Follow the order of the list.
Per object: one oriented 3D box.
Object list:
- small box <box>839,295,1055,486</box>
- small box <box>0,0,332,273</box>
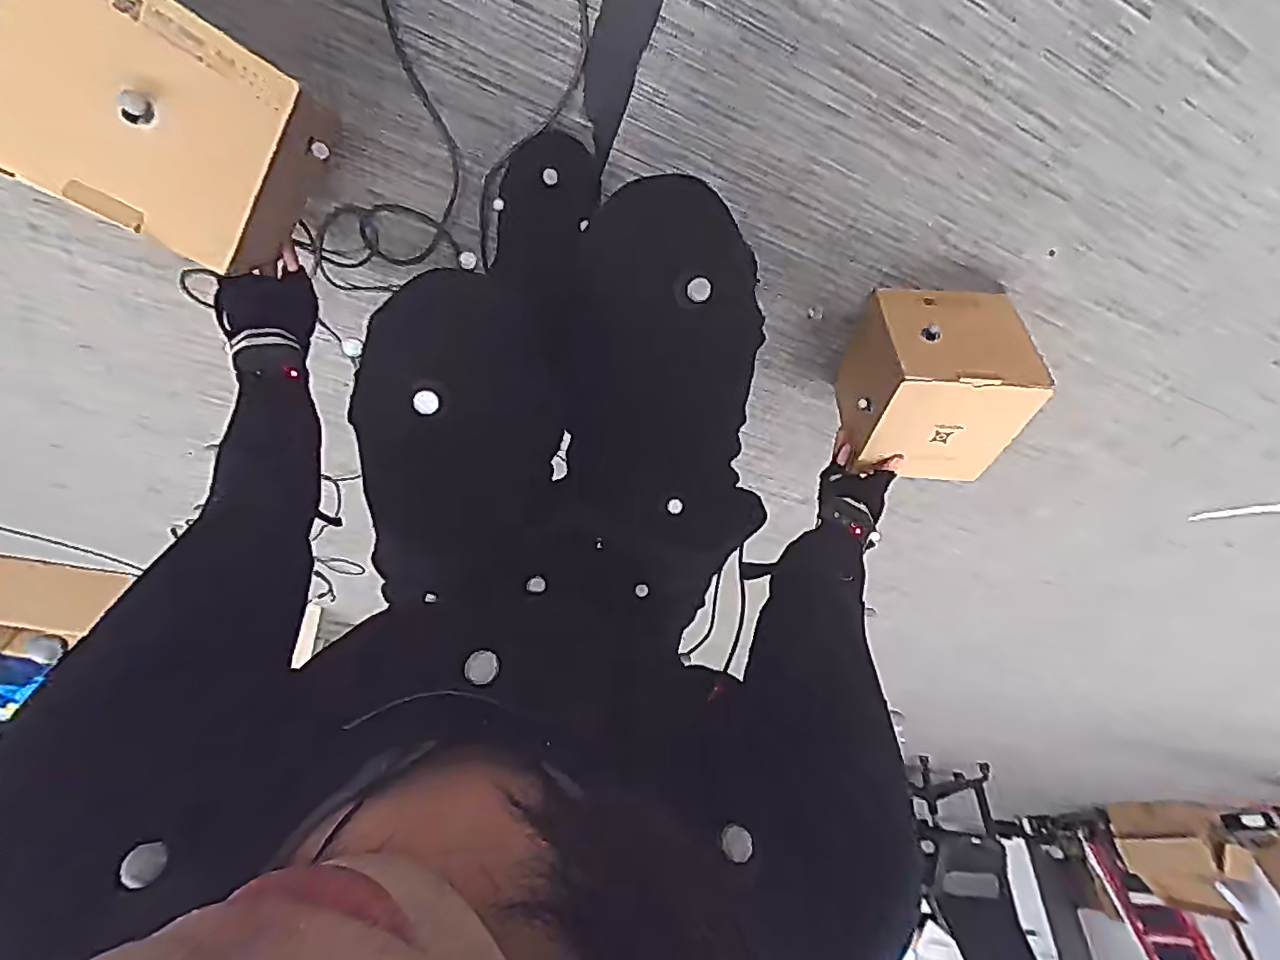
[{"bbox_3d":[0.366,-0.114,0.691,0.168,0.176,0.179,4,145,2],"label":"small box"},{"bbox_3d":[-0.390,-0.300,0.456,0.168,0.179,0.176,27,103,-28],"label":"small box"}]
